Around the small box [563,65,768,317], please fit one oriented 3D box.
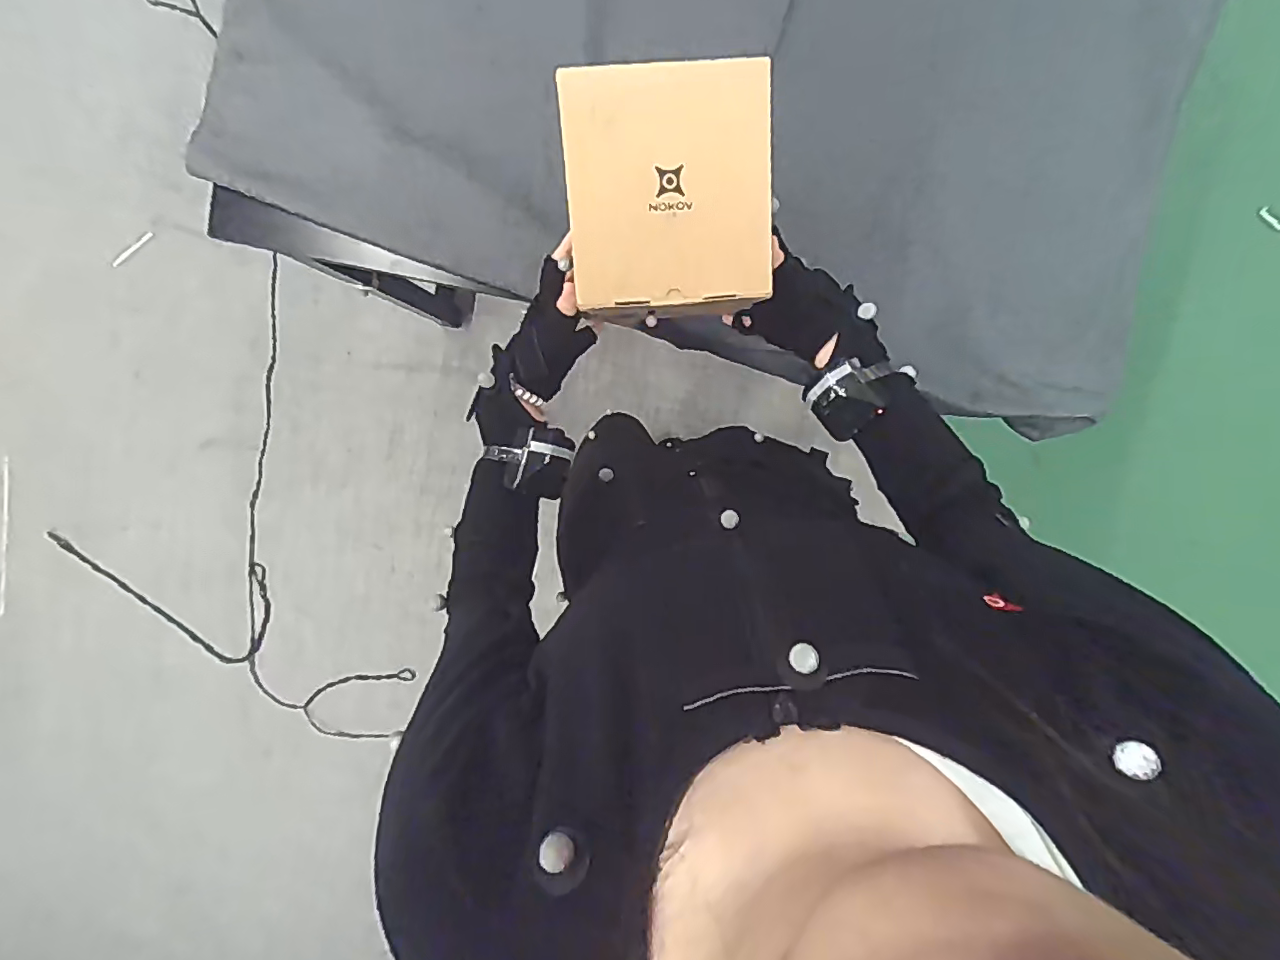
[{"bbox_3d":[0.018,-0.255,0.517,0.168,0.176,0.179,-4,104,-3],"label":"small box"}]
